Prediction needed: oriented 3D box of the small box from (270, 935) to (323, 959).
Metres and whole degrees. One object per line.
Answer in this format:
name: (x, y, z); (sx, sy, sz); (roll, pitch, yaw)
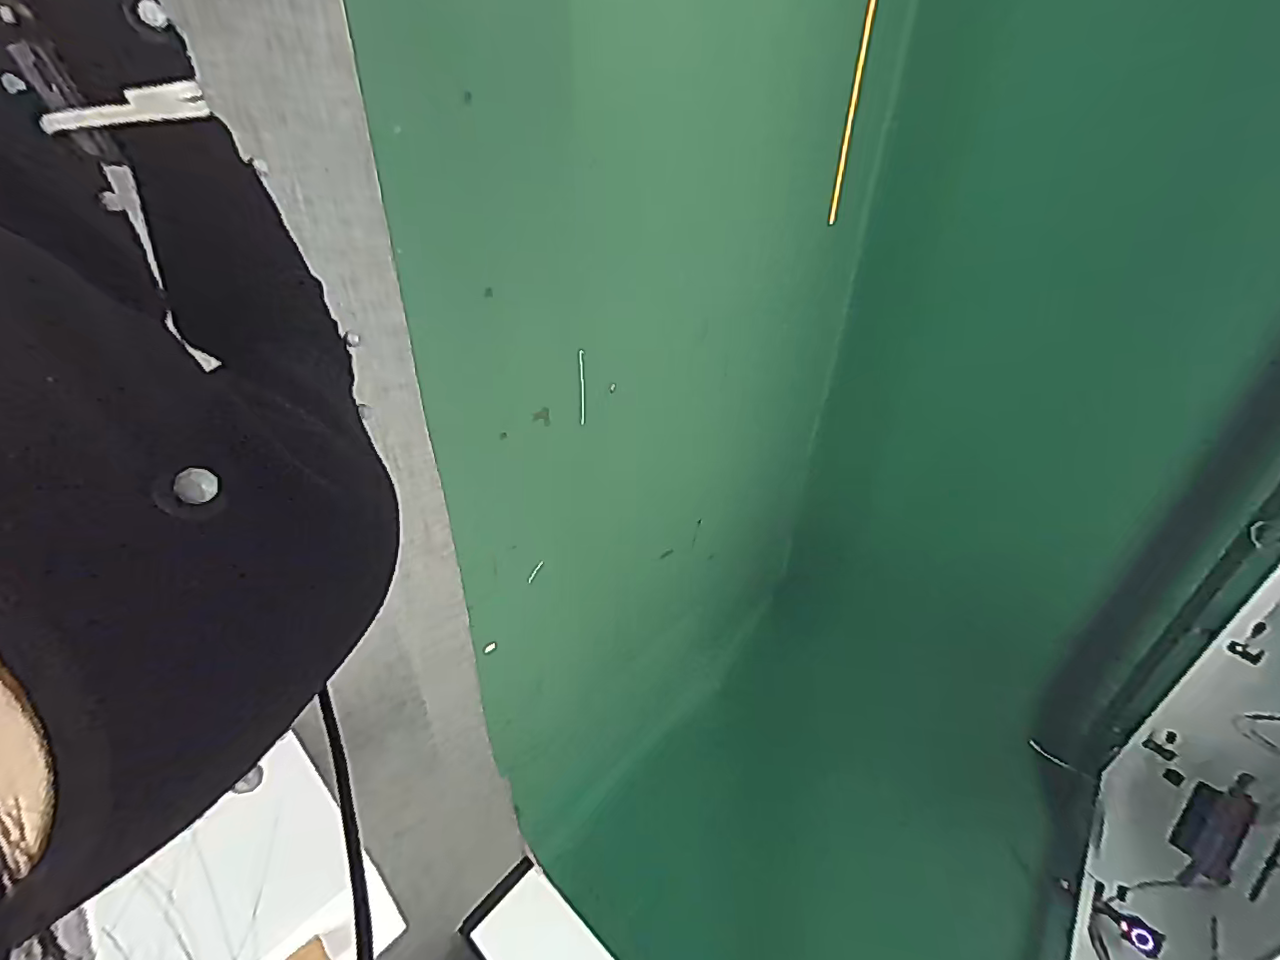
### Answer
small box: (-0.808, 1.216, 1.247); (0.168, 0.176, 0.179); (-24, 131, -44)
